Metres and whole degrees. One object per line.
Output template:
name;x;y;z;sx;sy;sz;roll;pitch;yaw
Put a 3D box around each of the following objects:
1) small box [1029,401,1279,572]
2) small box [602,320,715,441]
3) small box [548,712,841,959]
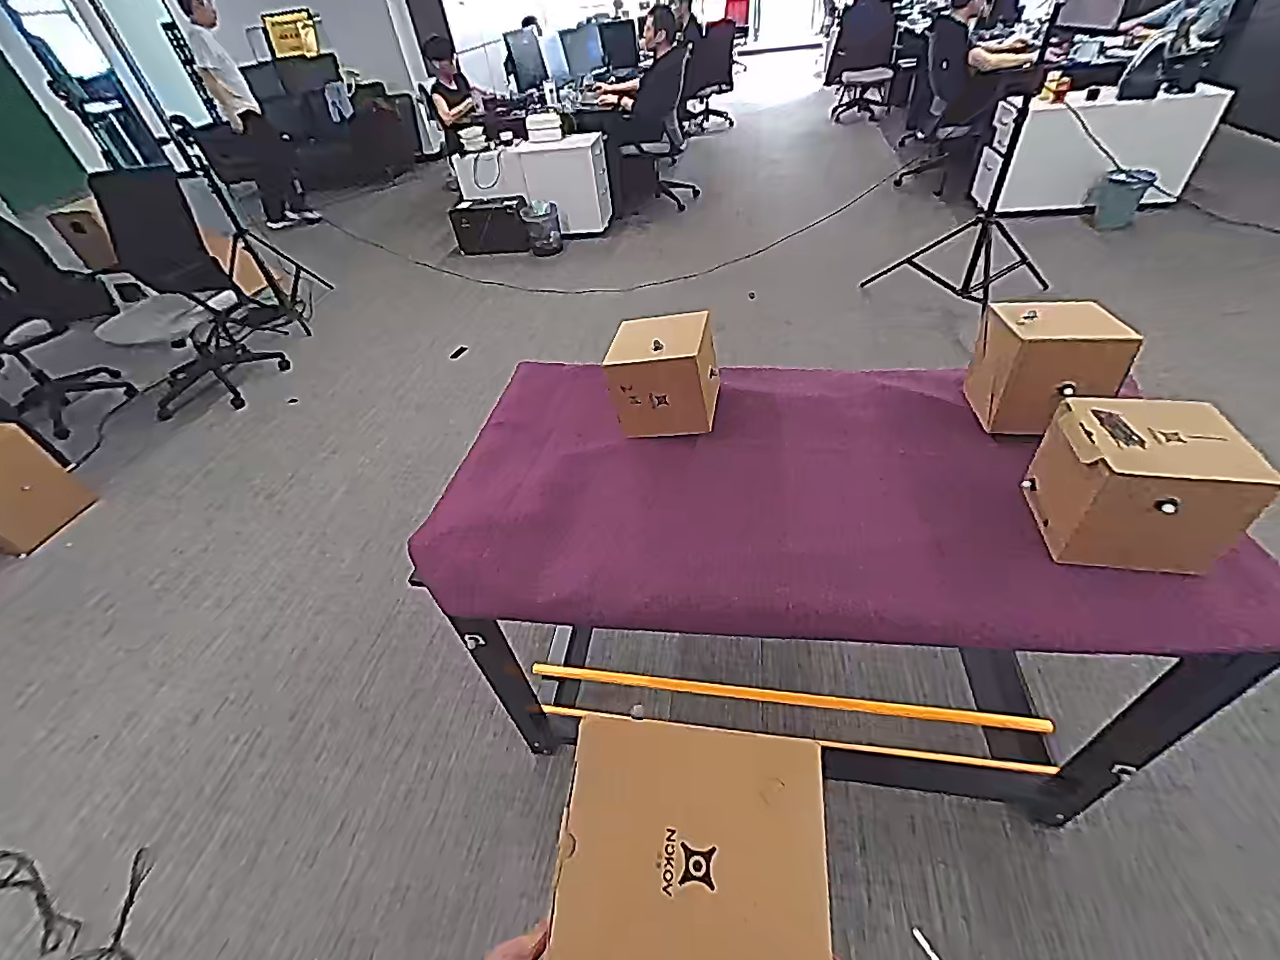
small box;0.667;0.008;0.737;0.179;0.176;0.168;4;42;12
small box;0.047;-0.193;1.039;0.179;0.168;0.176;-2;41;18
small box;0.042;0.287;0.415;0.179;0.176;0.168;2;57;7
